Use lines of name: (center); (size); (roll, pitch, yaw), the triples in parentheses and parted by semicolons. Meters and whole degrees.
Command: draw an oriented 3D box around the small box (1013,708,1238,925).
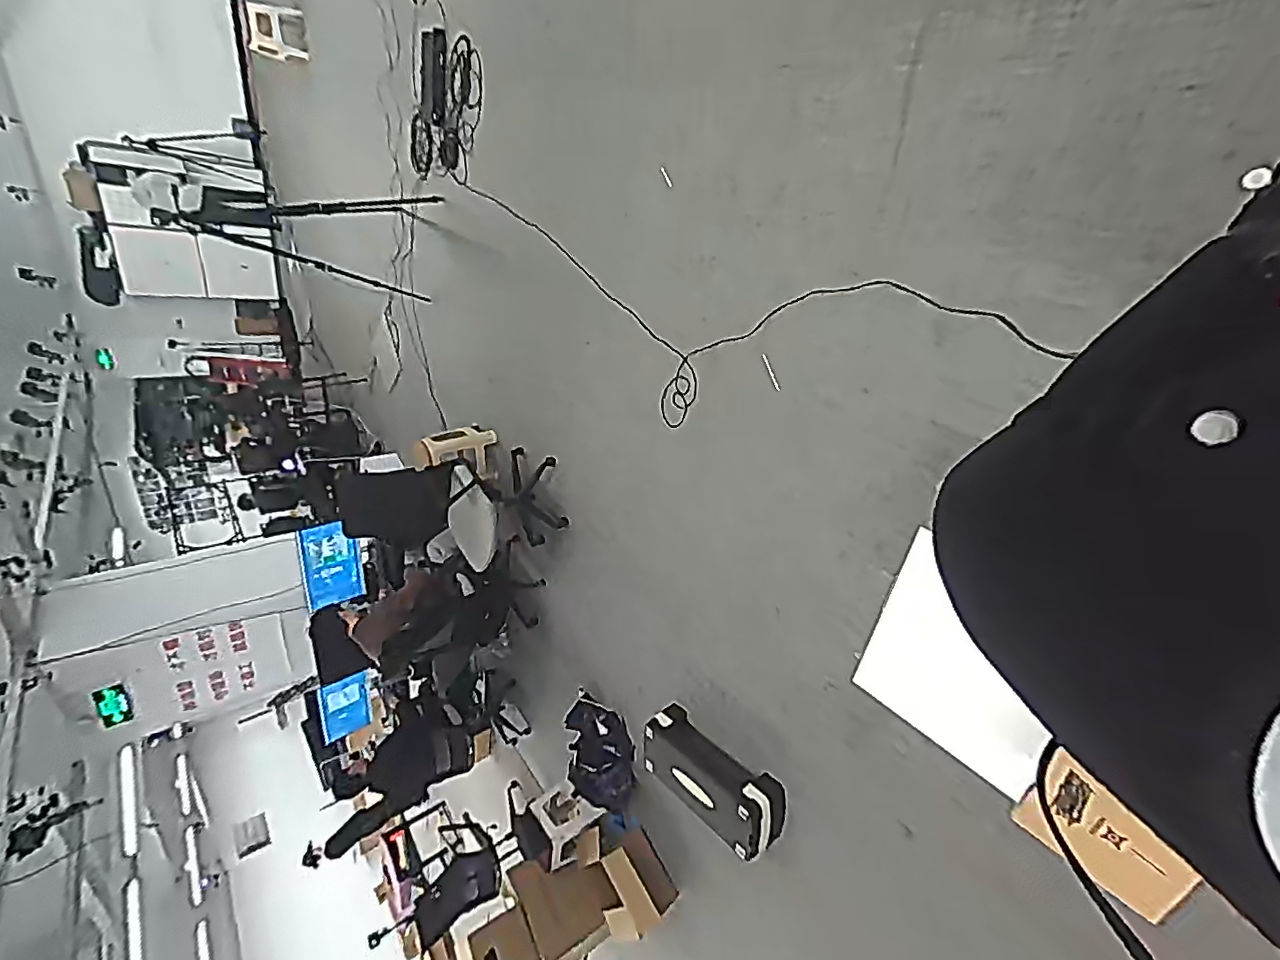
small box: (0.685, 0.456, 0.769); (0.179, 0.176, 0.168); (33, 125, 40)
